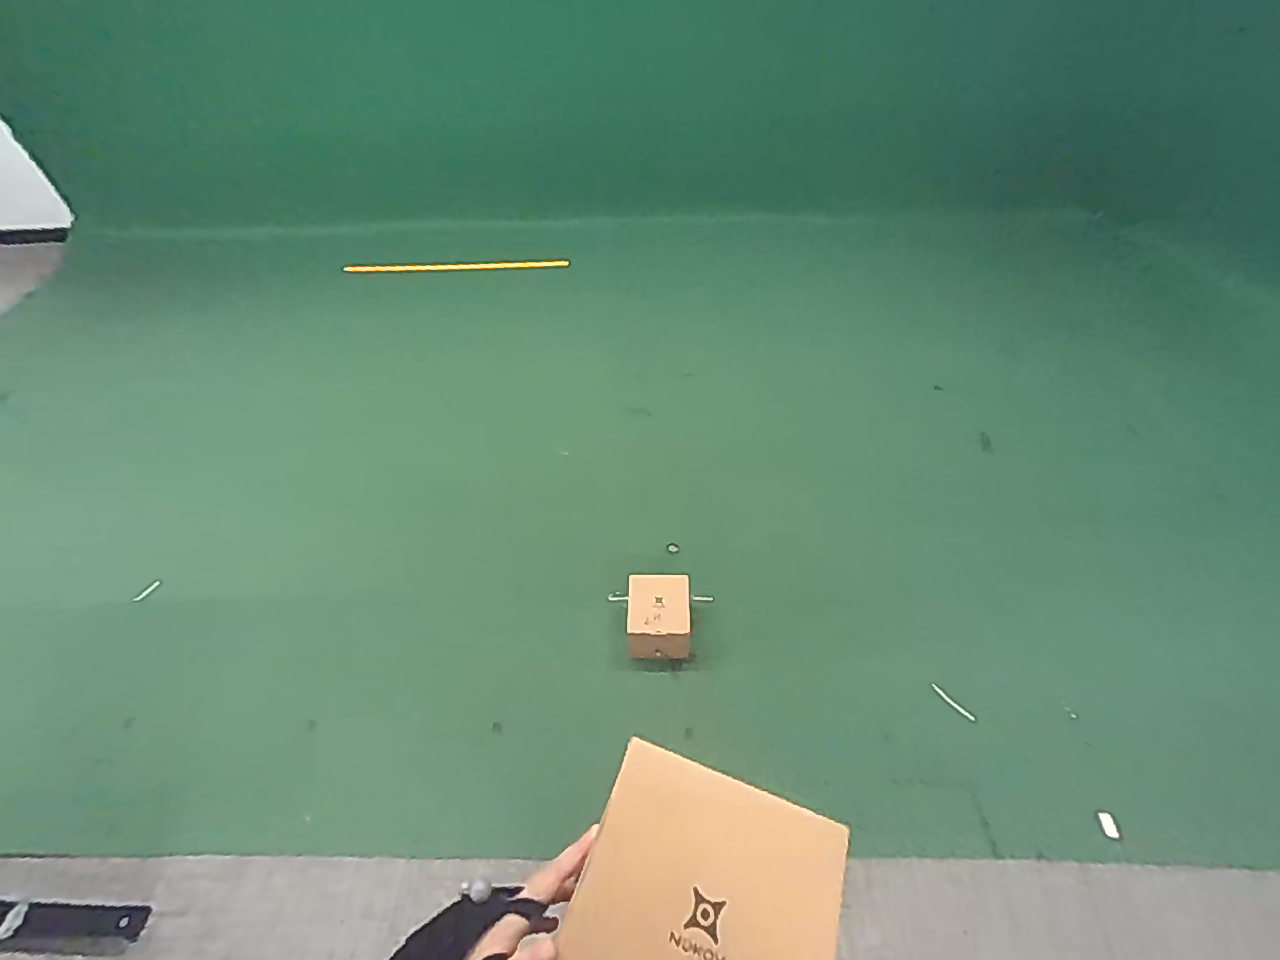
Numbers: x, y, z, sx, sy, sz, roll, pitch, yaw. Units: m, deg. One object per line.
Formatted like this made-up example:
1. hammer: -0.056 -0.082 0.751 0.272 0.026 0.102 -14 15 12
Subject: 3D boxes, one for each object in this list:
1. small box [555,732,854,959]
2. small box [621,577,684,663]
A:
1. small box: 0.039 0.324 0.404 0.168 0.176 0.179 19 54 9
2. small box: 0.035 0.389 1.500 0.168 0.176 0.179 1 49 2
